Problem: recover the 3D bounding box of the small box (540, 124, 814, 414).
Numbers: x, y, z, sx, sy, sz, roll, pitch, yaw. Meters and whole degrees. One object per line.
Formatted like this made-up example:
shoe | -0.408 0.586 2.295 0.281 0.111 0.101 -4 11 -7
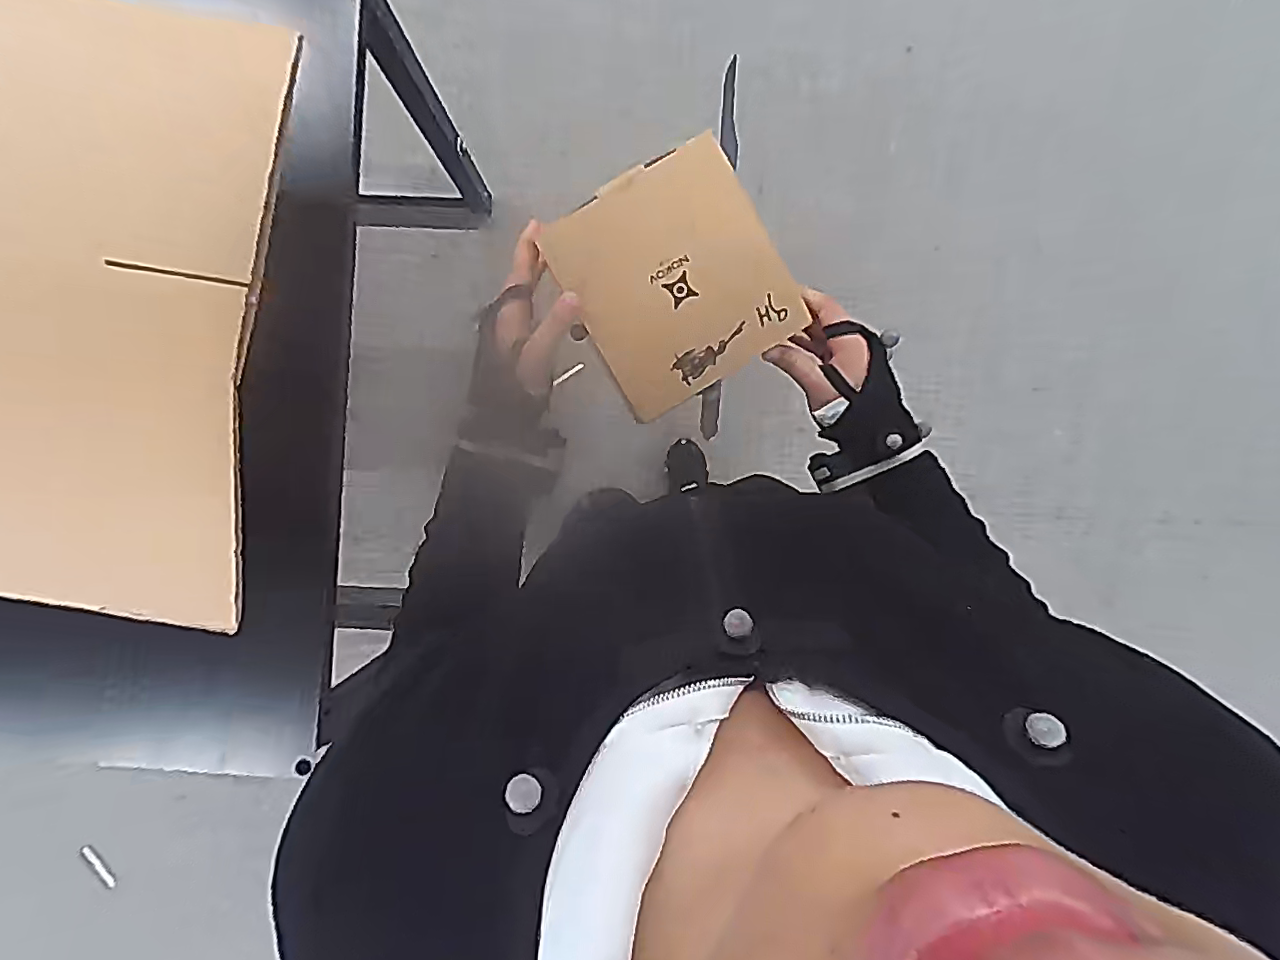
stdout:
small box | 0.027 -0.175 0.512 0.168 0.176 0.179 -30 96 0
